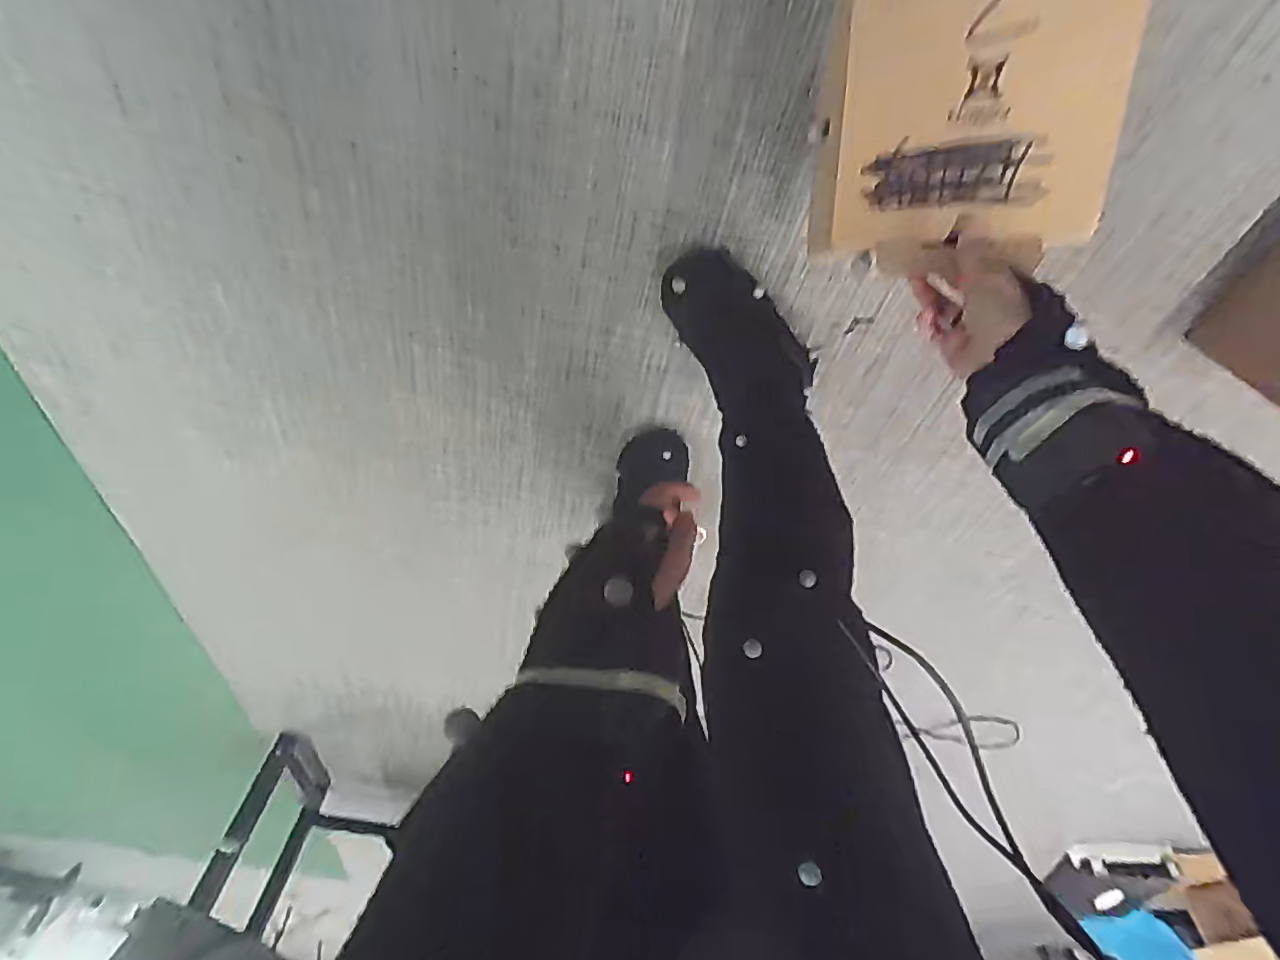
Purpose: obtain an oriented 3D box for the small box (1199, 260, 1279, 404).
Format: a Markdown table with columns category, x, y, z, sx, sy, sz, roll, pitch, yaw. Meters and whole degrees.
| category | x | y | z | sx | sy | sz | roll | pitch | yaw |
| --- | --- | --- | --- | --- | --- | --- | --- | --- | --- |
| small box | 0.757 | -0.156 | 0.549 | 0.168 | 0.176 | 0.179 | 11 | 133 | -4 |
